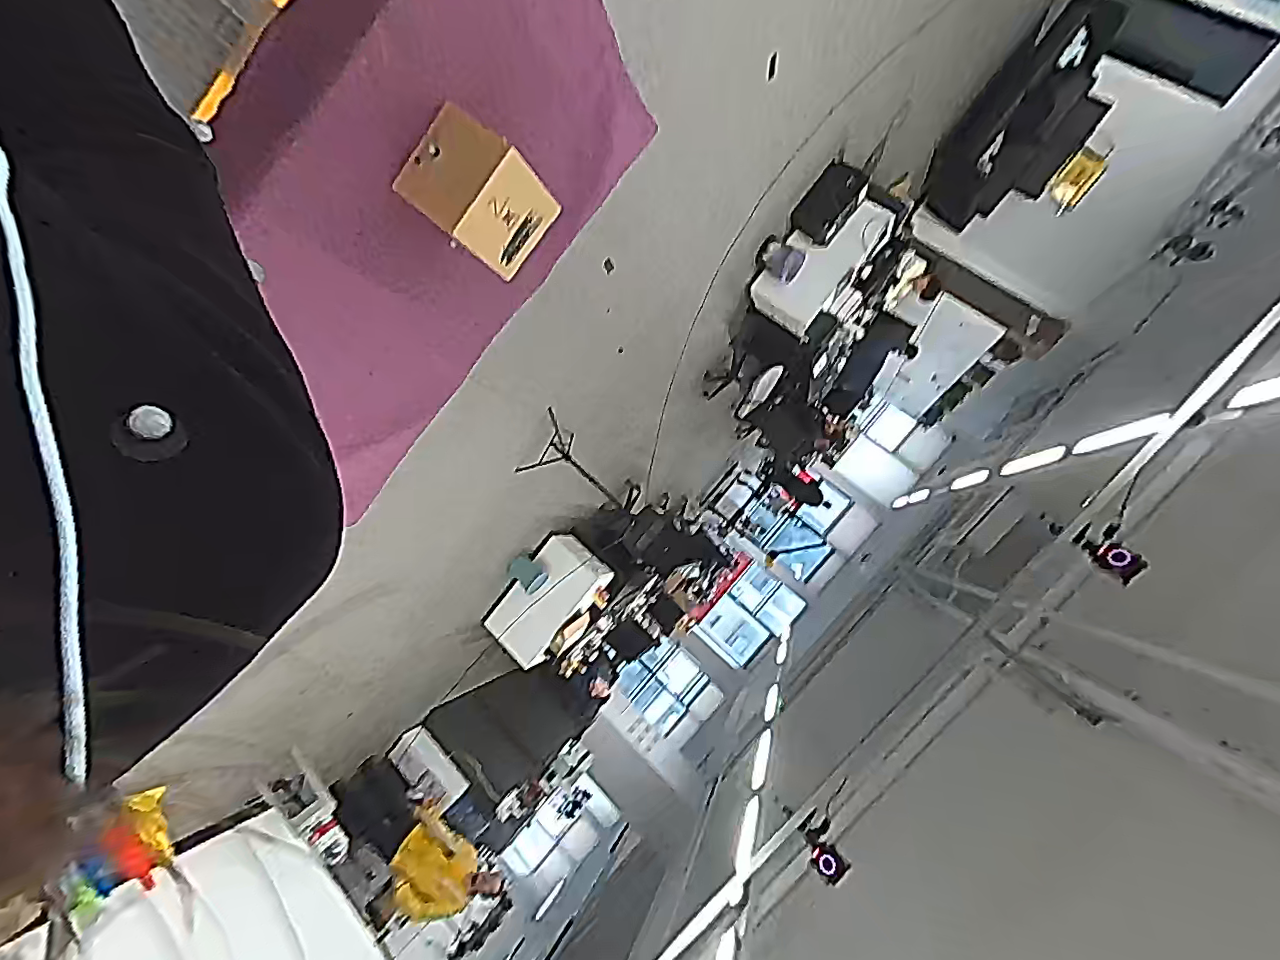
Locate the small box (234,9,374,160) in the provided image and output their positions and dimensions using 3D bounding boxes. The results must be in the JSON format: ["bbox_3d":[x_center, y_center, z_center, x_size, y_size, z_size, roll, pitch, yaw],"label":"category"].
[{"bbox_3d":[-0.732,-0.853,1.172,0.179,0.176,0.168,-52,163,8],"label":"small box"}]
